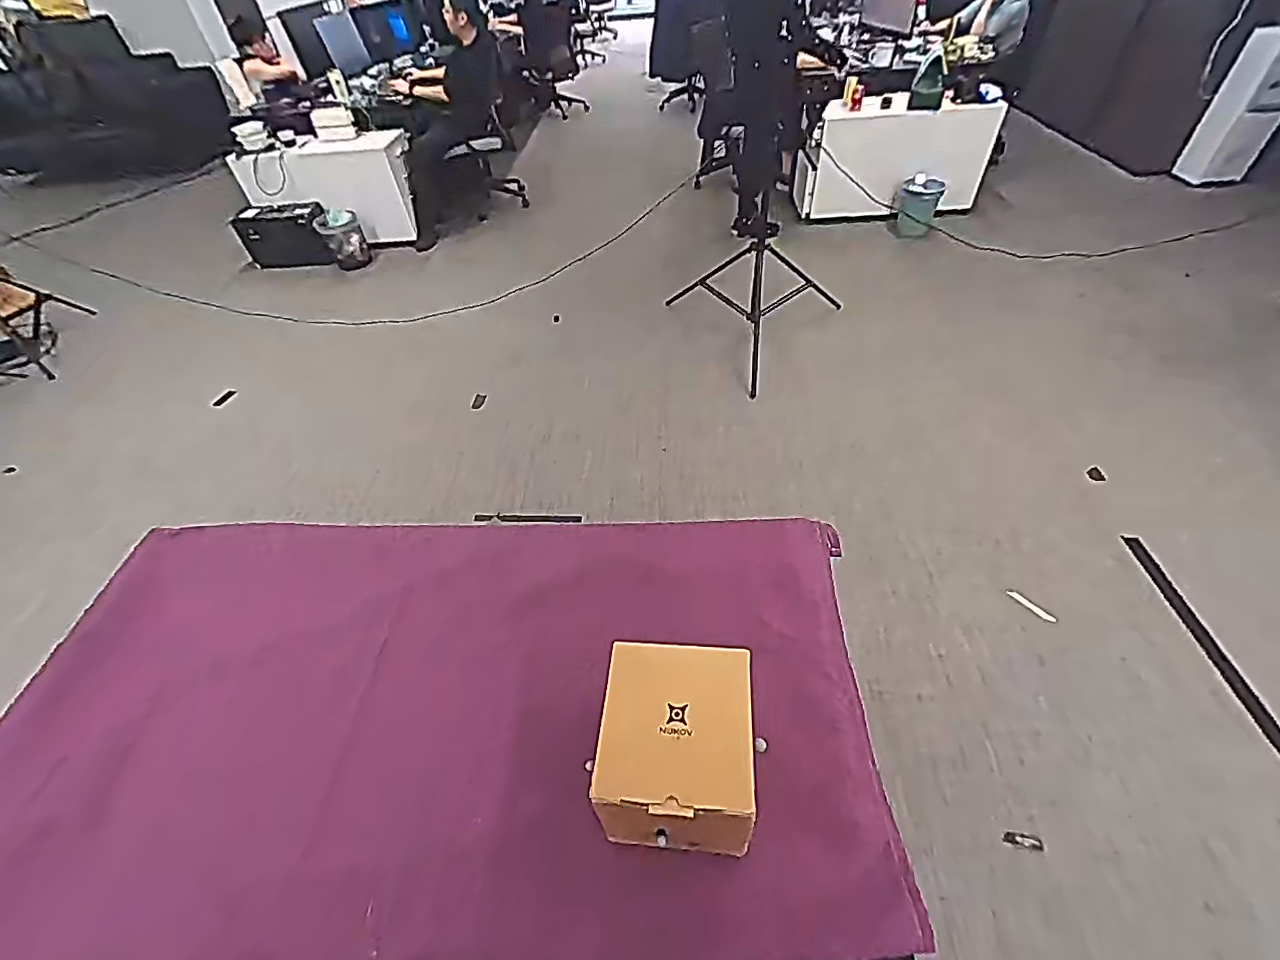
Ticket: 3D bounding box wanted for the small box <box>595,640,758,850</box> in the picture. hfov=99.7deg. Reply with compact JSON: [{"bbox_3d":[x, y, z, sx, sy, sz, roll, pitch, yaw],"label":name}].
[{"bbox_3d":[0.048,0.315,0.647,0.168,0.176,0.179,1,46,7],"label":"small box"}]
